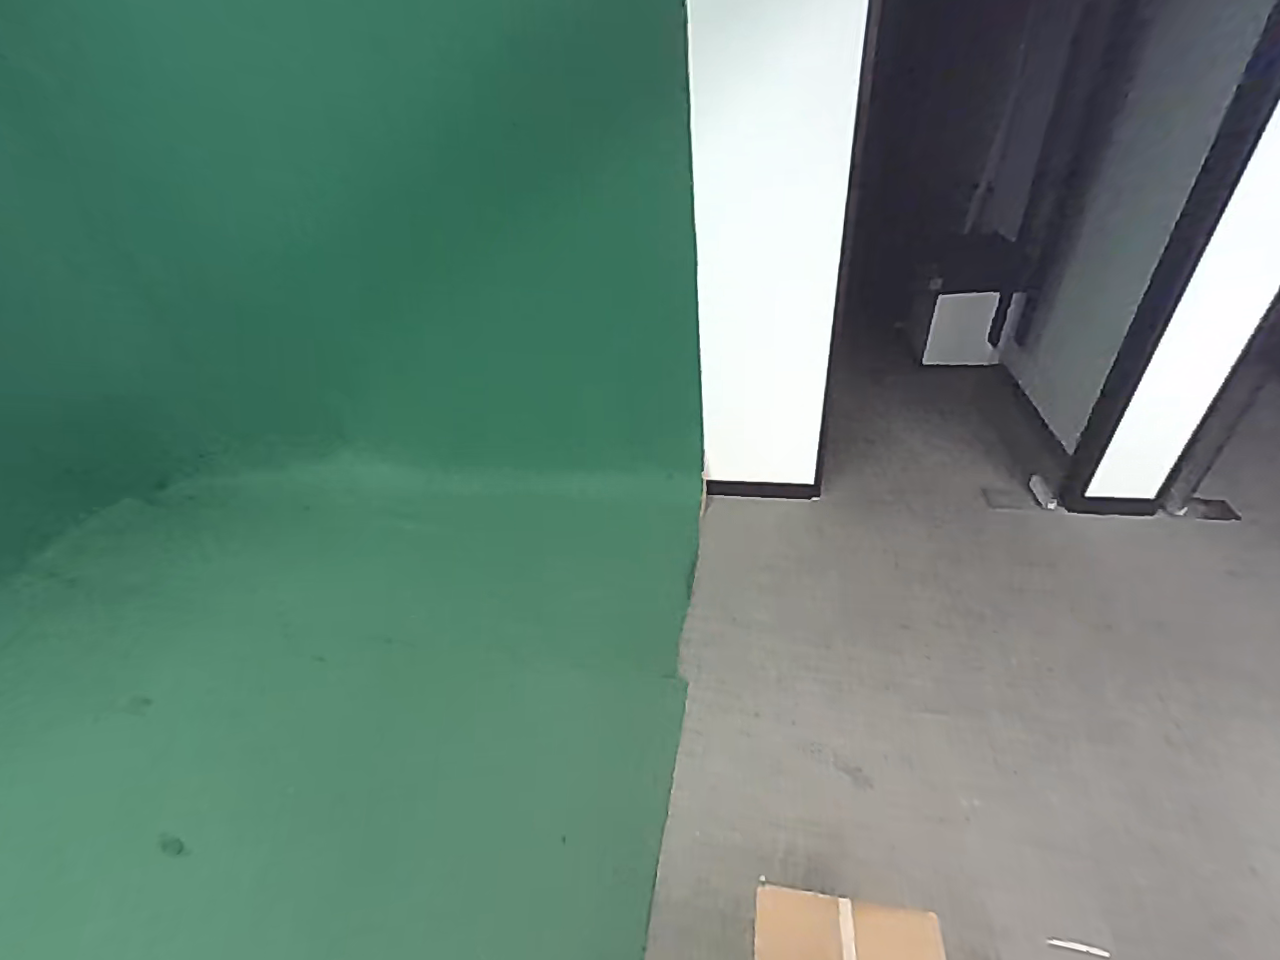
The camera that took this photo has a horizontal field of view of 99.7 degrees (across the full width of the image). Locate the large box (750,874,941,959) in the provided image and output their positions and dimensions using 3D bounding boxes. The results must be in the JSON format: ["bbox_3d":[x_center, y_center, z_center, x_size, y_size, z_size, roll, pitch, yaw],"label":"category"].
[{"bbox_3d":[0.347,0.985,0.921,0.320,0.320,0.408,2,37,12],"label":"large box"}]
